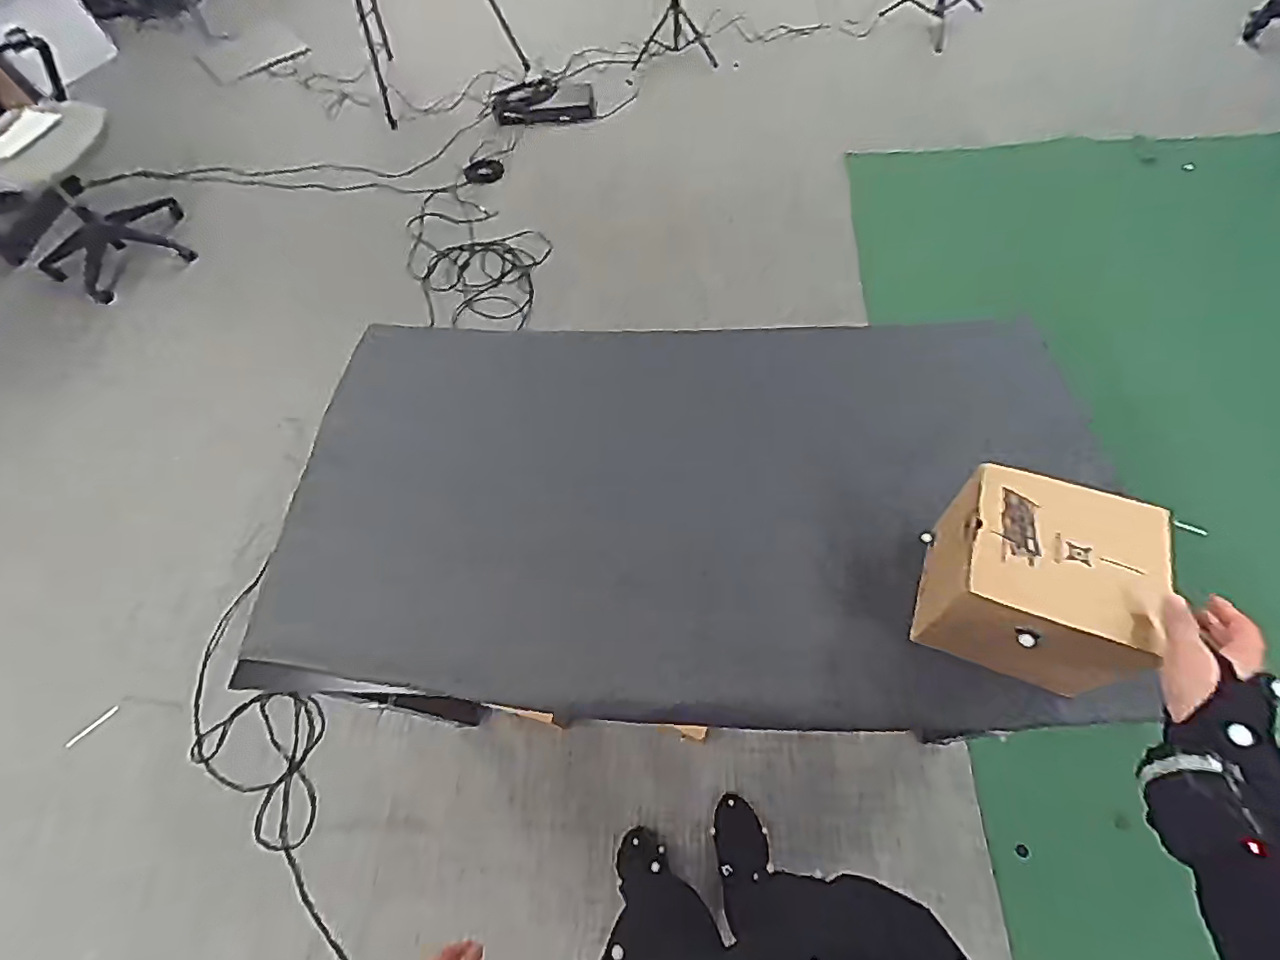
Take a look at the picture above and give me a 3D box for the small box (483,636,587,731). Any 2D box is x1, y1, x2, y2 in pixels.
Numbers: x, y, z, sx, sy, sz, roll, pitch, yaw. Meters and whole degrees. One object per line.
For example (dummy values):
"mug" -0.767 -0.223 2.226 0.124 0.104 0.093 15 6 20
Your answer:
"small box" -0.246 0.497 1.311 0.179 0.176 0.168 10 62 13

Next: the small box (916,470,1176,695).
"small box" 0.432 0.119 0.602 0.179 0.176 0.168 18 62 17

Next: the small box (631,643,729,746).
"small box" 0.098 0.508 1.267 0.179 0.176 0.168 17 63 17

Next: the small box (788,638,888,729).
"small box" 0.445 0.473 1.245 0.168 0.176 0.179 -5 60 3
